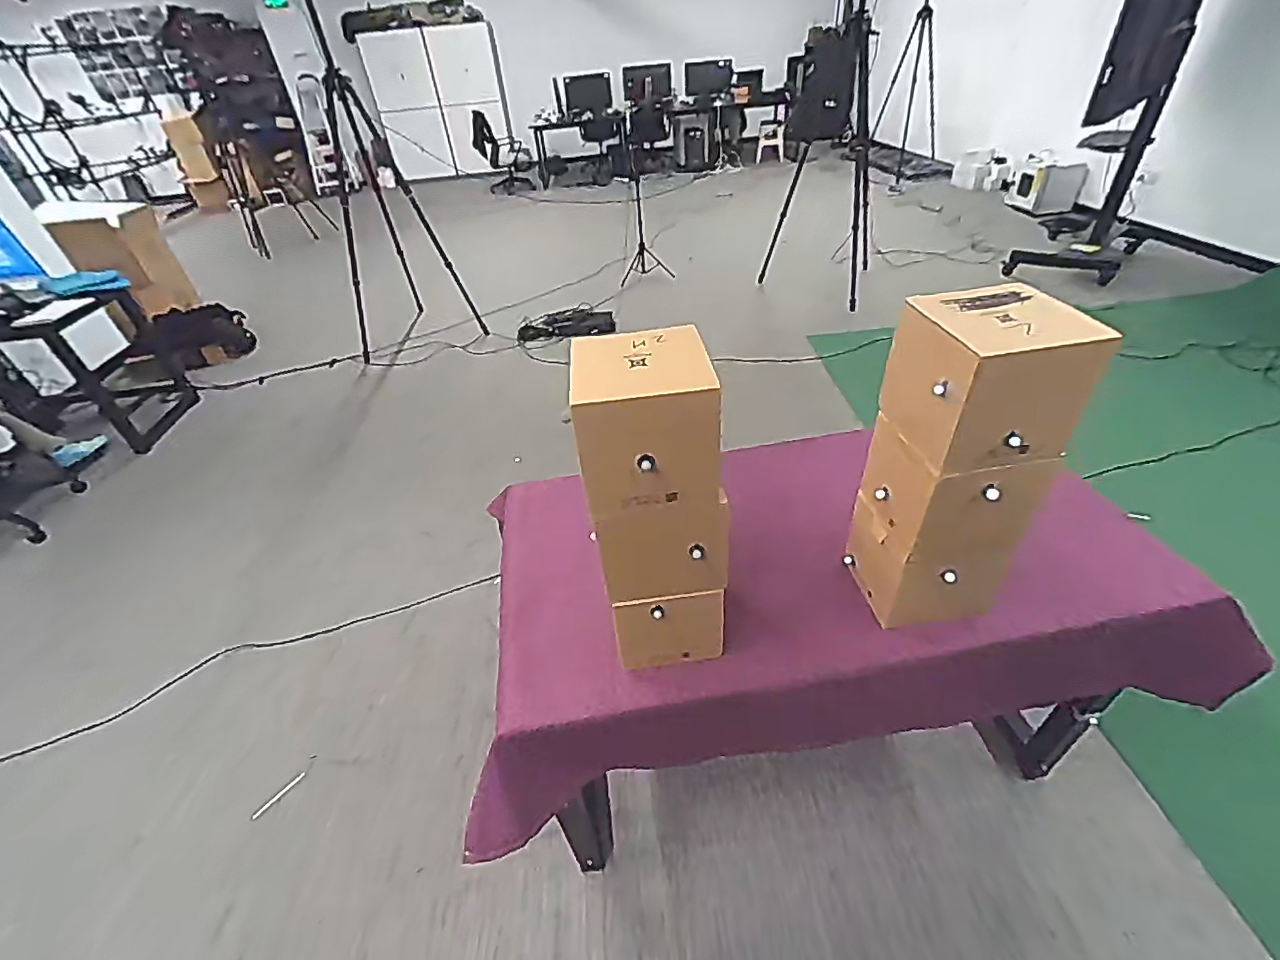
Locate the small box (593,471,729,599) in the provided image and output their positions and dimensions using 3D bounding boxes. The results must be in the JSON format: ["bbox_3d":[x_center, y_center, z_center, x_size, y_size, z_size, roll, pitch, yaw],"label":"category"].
[{"bbox_3d":[0.028,0.054,0.793,0.179,0.176,0.168,-7,39,0],"label":"small box"}]

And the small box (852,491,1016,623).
[{"bbox_3d":[0.473,0.121,0.909,0.179,0.176,0.168,-8,39,-2],"label":"small box"}]

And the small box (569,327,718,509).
[{"bbox_3d":[0.006,-0.076,0.694,0.168,0.176,0.179,-6,38,0],"label":"small box"}]

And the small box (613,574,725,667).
[{"bbox_3d":[0.042,0.181,0.895,0.168,0.176,0.179,-8,38,-1],"label":"small box"}]

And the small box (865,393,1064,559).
[{"bbox_3d":[0.463,-0.005,0.806,0.179,0.176,0.168,-9,40,-2],"label":"small box"}]
